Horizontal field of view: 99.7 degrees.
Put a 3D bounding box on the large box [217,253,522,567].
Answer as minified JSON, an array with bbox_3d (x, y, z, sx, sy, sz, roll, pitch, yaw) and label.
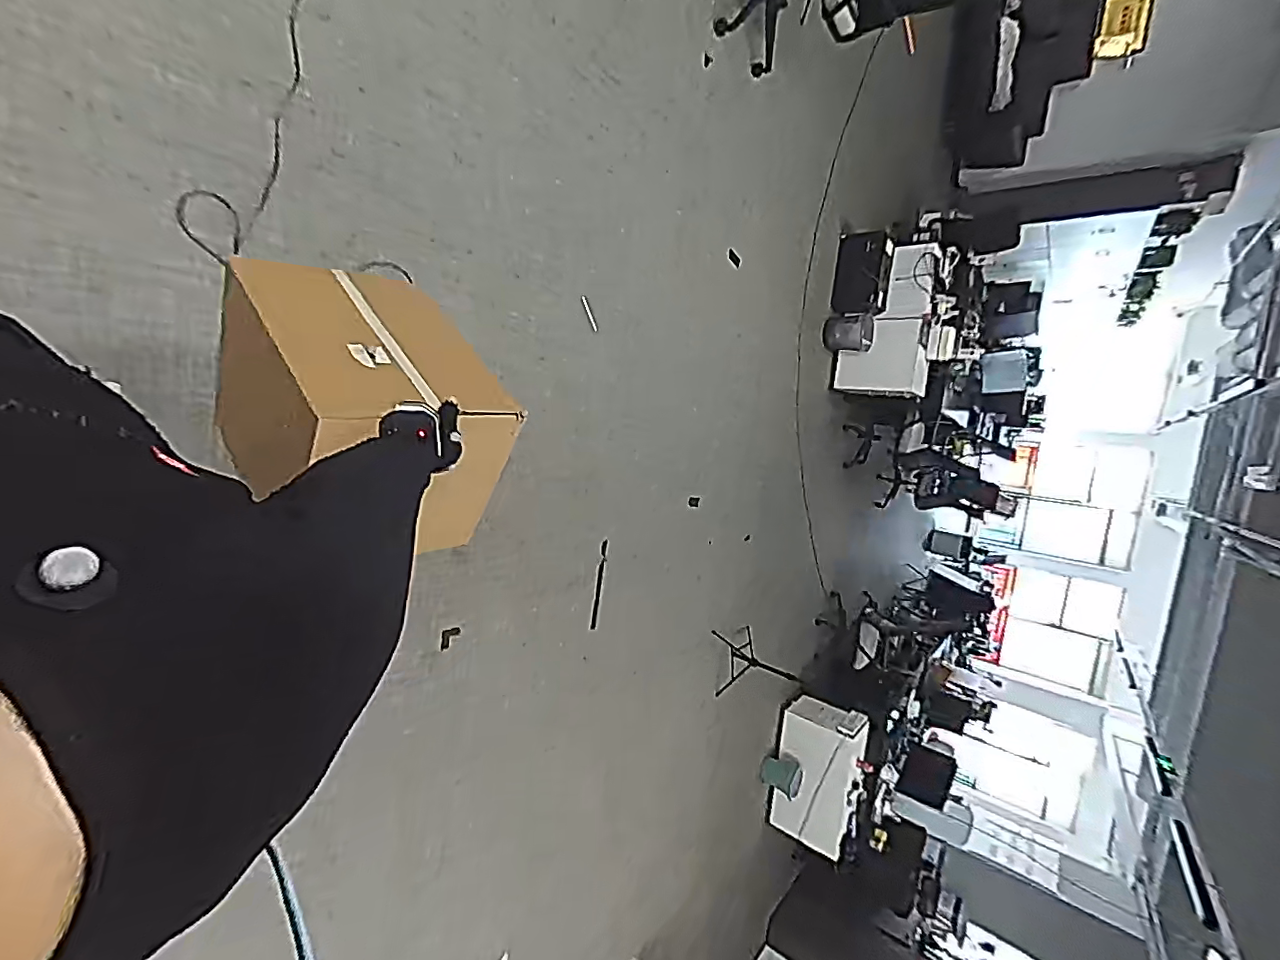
[{"bbox_3d":[-0.482,-0.121,0.940,0.320,0.408,0.320,-10,142,-48],"label":"large box"}]
